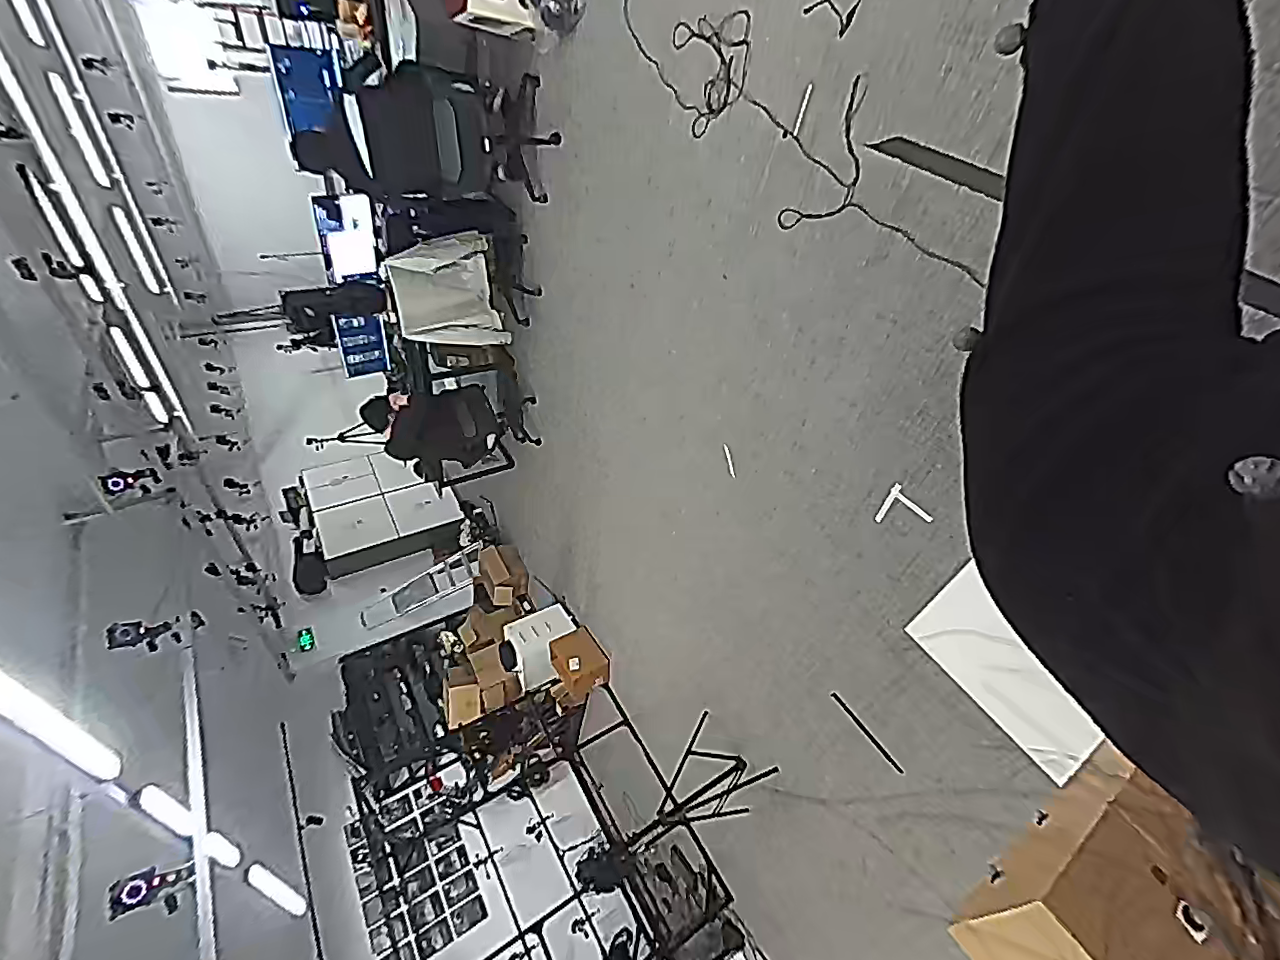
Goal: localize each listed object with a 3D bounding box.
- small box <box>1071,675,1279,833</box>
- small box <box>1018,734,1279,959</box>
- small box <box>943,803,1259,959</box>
[{"bbox_3d":[0.754,0.398,0.728,0.168,0.176,0.179,52,147,33],"label":"small box"},{"bbox_3d":[0.617,0.442,0.650,0.168,0.176,0.179,51,146,34],"label":"small box"},{"bbox_3d":[0.480,0.488,0.576,0.168,0.176,0.179,50,145,34],"label":"small box"}]
